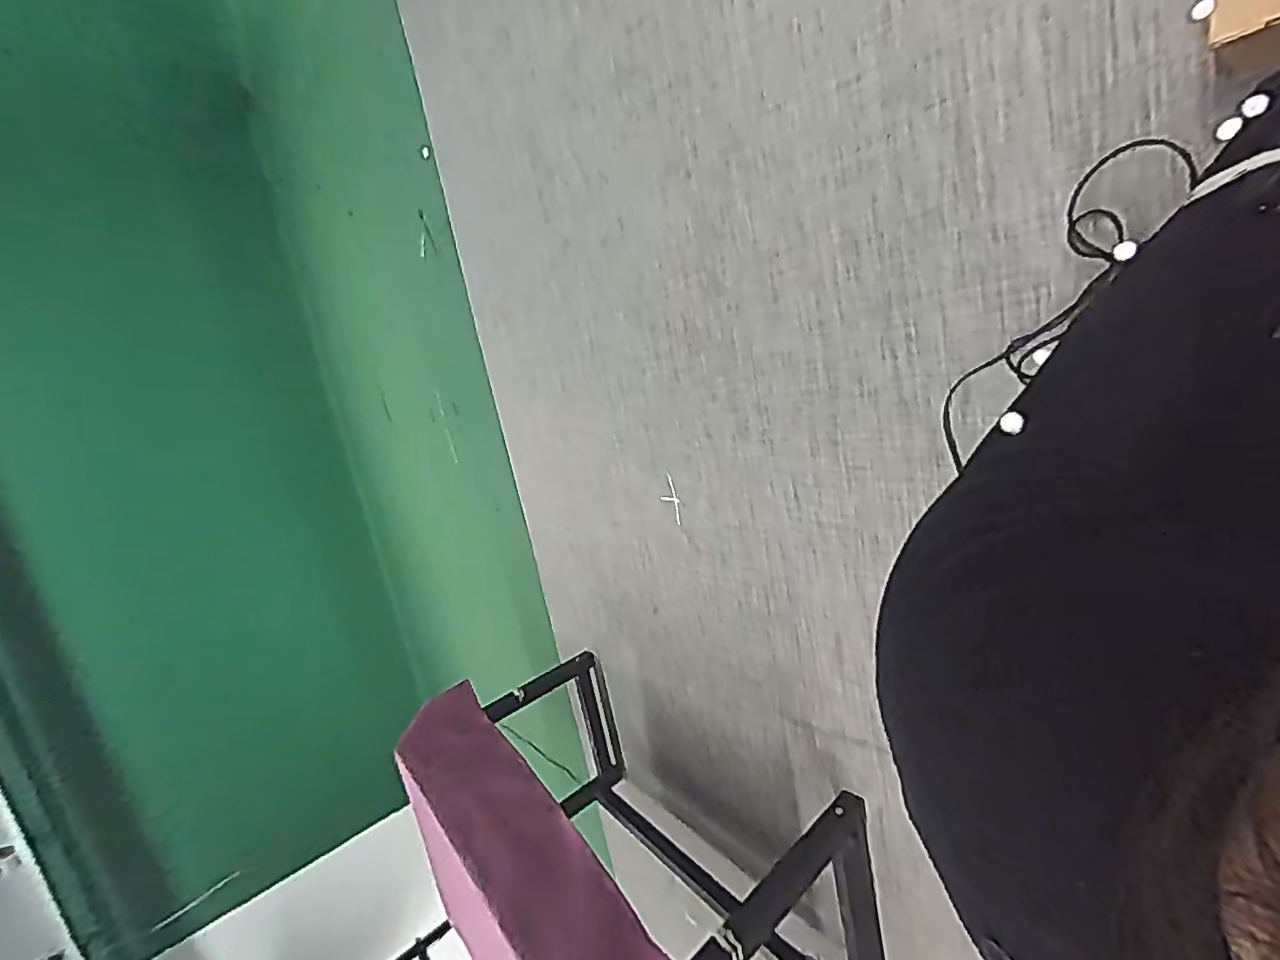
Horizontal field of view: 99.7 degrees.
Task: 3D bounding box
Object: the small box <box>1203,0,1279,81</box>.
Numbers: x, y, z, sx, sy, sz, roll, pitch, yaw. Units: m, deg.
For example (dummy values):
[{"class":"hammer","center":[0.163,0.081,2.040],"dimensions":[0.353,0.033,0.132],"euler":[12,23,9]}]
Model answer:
[{"class":"small box","center":[0.590,-0.467,0.437],"dimensions":[0.168,0.176,0.179],"euler":[7,112,52]}]
